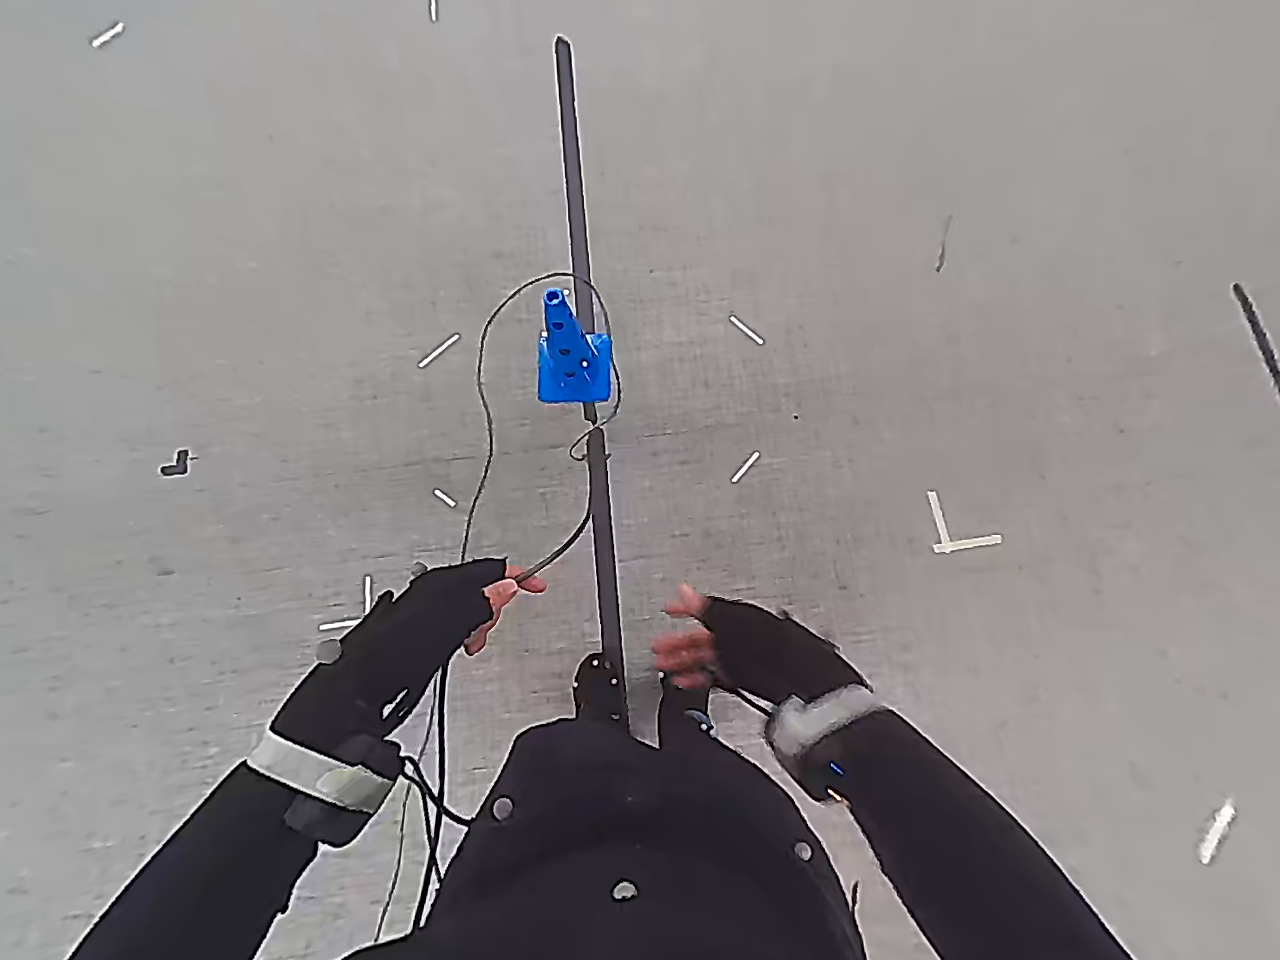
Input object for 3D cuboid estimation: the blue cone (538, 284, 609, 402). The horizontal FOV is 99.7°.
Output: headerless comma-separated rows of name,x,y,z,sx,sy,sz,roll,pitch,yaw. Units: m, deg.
blue cone,-0.185,-0.340,1.303,0.193,0.380,0.192,-3,77,1
